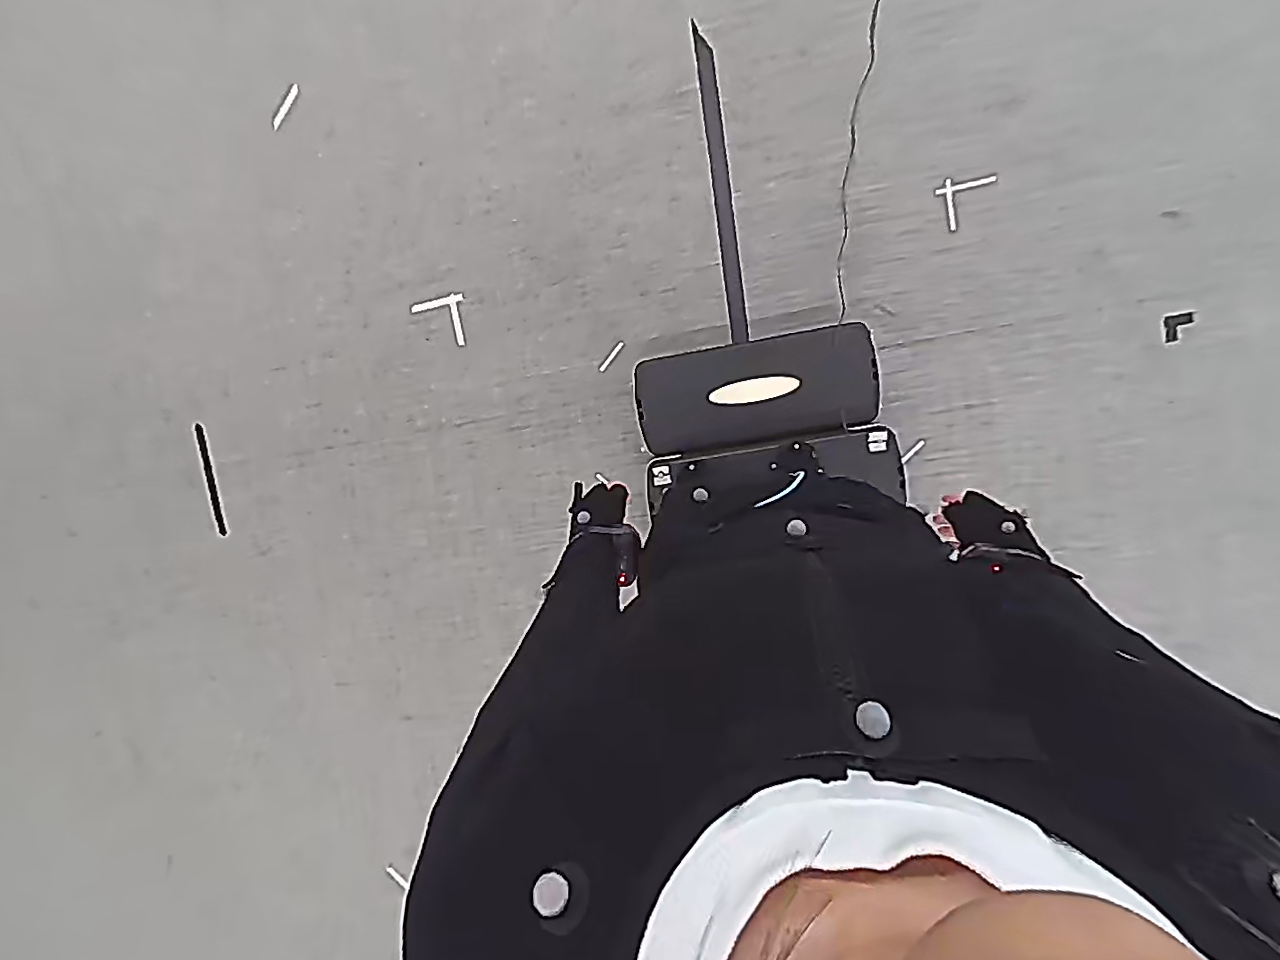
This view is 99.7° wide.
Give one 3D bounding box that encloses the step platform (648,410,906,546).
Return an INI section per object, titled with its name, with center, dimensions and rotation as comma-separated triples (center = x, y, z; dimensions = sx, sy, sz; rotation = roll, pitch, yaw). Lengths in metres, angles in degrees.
[step platform]
center = 0.367, -0.003, 1.514
dimensions = 0.684, 0.204, 0.286
rotation = -9, 93, 10
